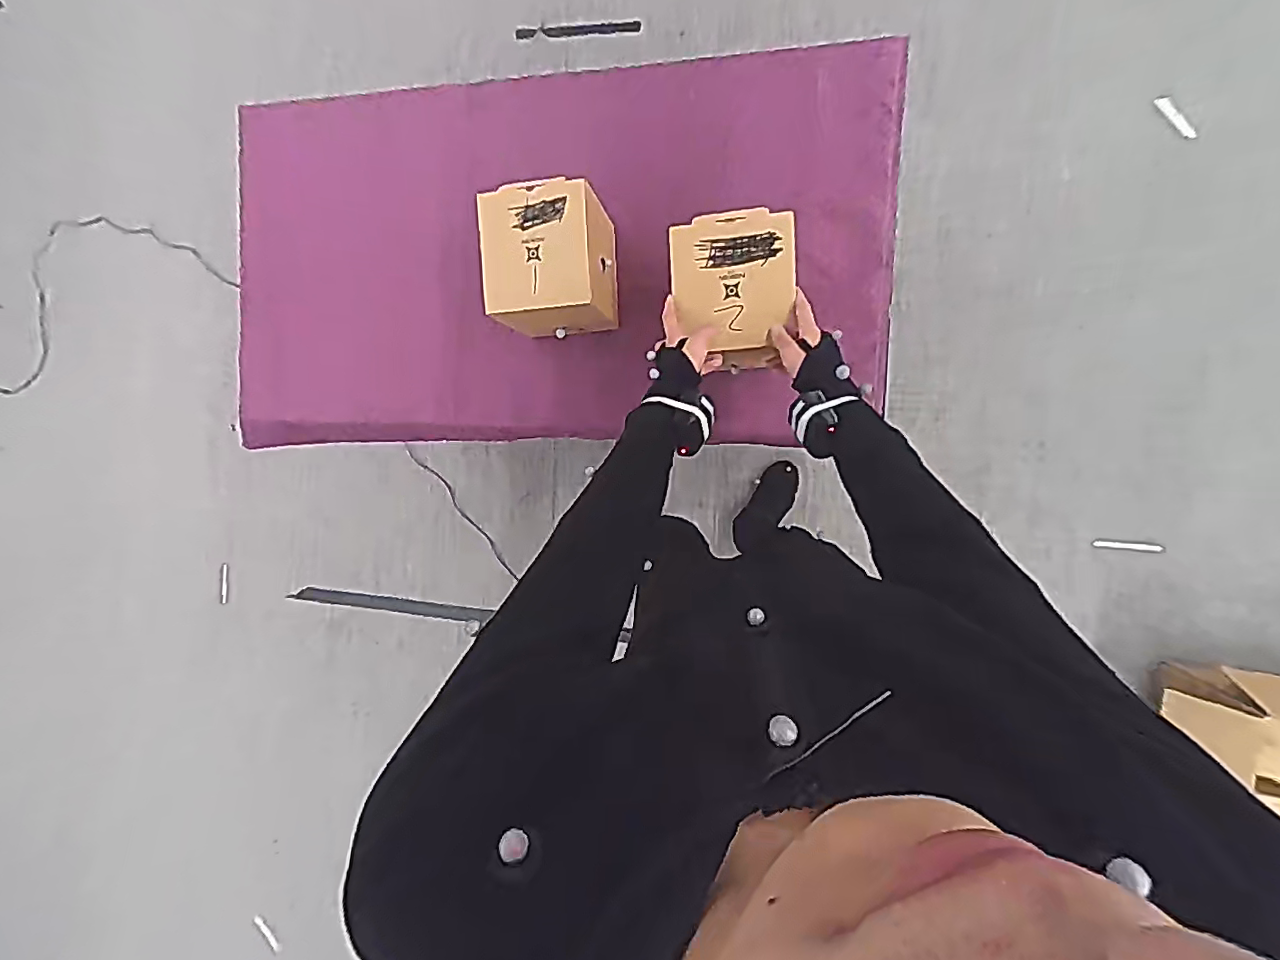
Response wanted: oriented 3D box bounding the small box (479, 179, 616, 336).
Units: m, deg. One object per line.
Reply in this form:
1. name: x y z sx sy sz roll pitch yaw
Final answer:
1. small box: -0.138 -0.340 0.858 0.168 0.176 0.179 -2 93 11
